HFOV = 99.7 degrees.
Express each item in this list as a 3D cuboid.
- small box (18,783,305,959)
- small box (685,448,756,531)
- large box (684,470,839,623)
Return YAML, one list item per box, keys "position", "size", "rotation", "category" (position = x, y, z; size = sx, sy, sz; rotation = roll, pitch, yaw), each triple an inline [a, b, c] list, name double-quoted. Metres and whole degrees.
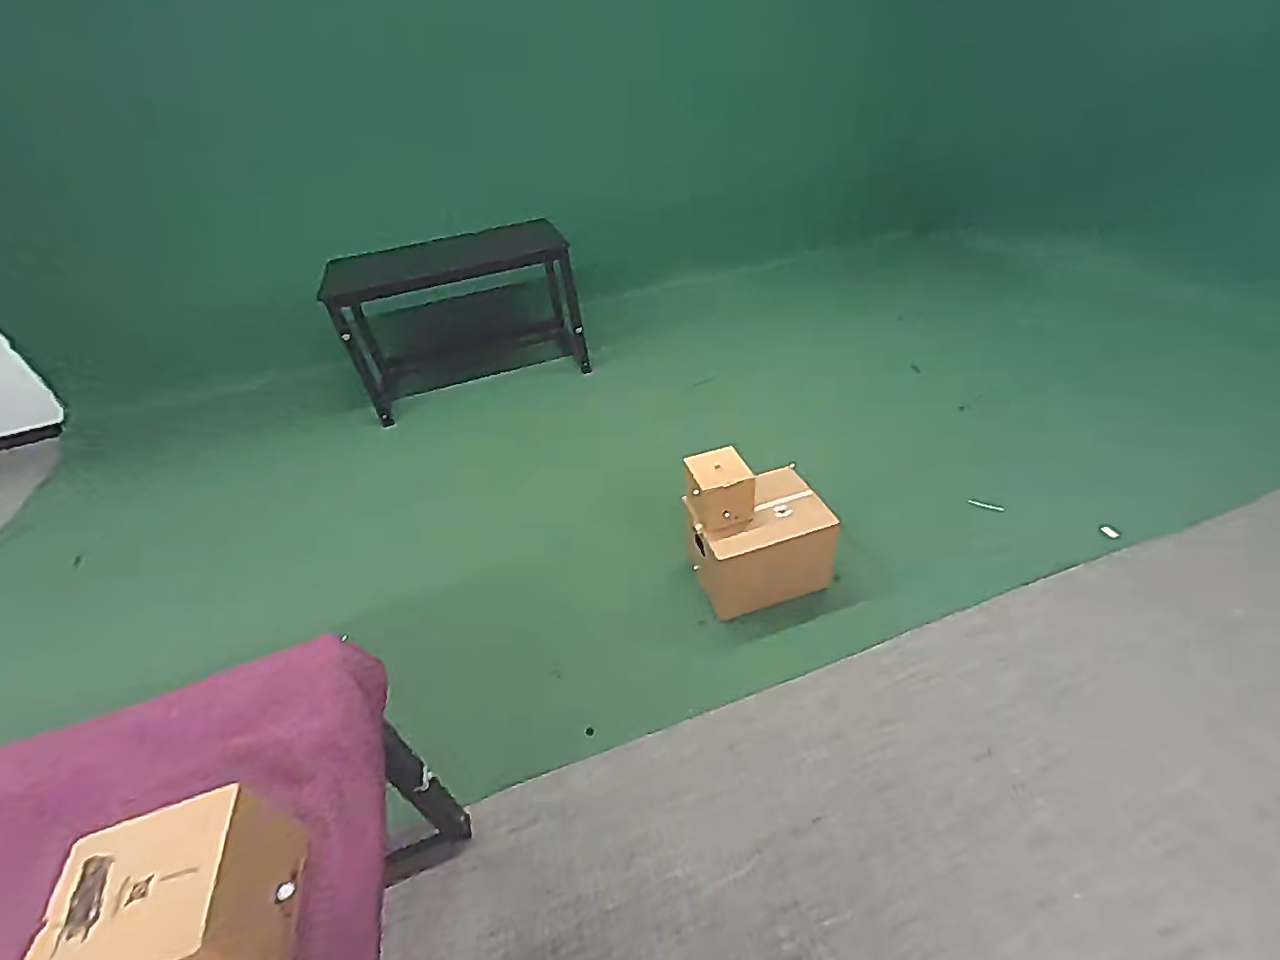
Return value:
- position: [-0.519, 0.486, 0.607]
  size: [0.179, 0.176, 0.168]
  rotation: [-17, 40, -10]
  category: "small box"
- position: [0.248, 0.030, 1.686]
  size: [0.168, 0.176, 0.179]
  rotation: [-15, 39, -9]
  category: "small box"
- position: [0.391, 0.218, 1.817]
  size: [0.408, 0.320, 0.320]
  rotation: [-15, 40, -9]
  category: "large box"
